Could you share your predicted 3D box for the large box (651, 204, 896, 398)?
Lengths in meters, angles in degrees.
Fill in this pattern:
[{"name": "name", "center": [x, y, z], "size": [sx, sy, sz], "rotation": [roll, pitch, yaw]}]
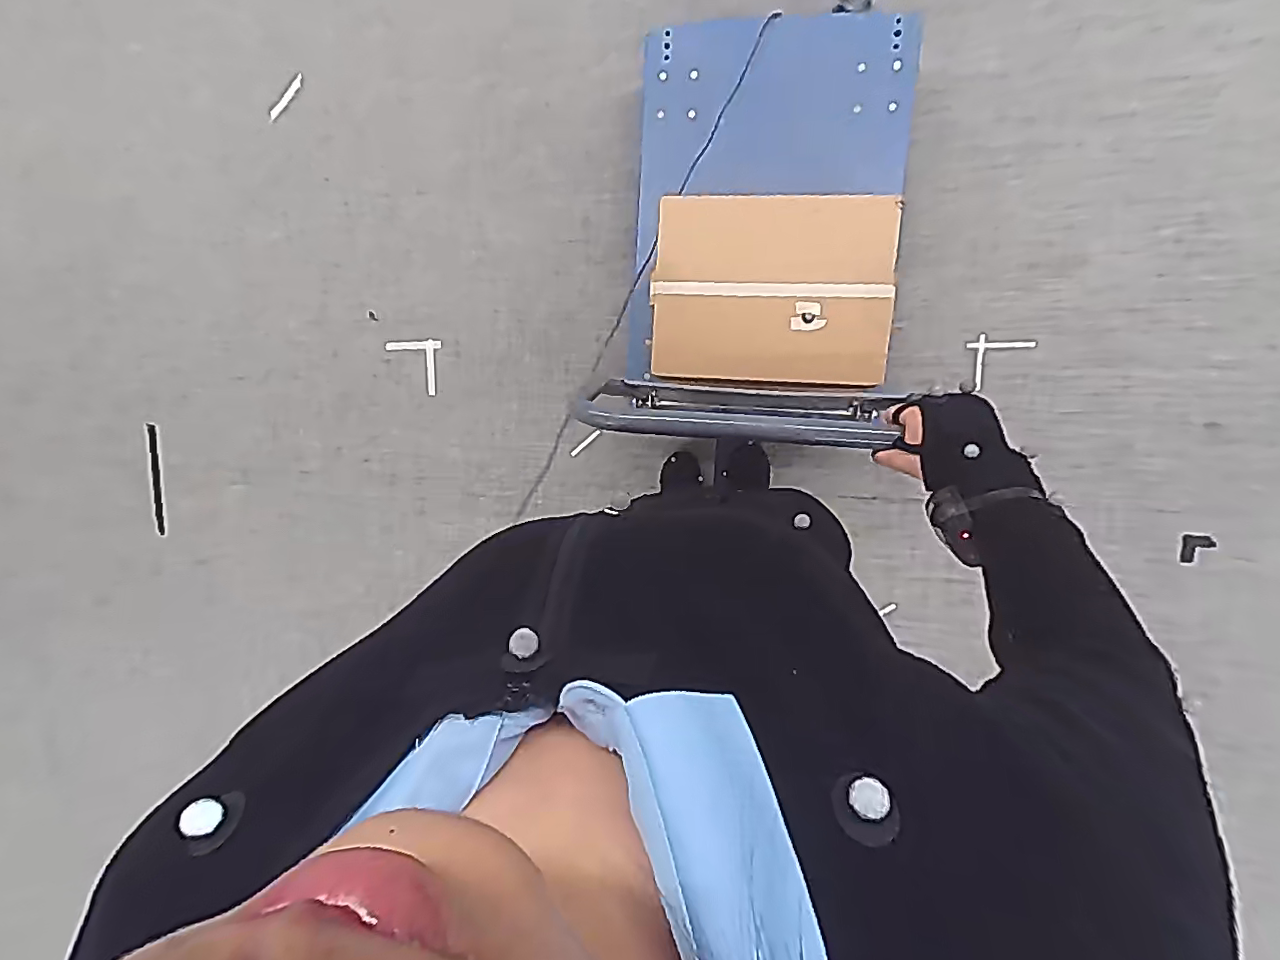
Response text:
[{"name": "large box", "center": [0.240, -0.329, 1.079], "size": [0.408, 0.320, 0.320], "rotation": [4, 98, 8]}]
